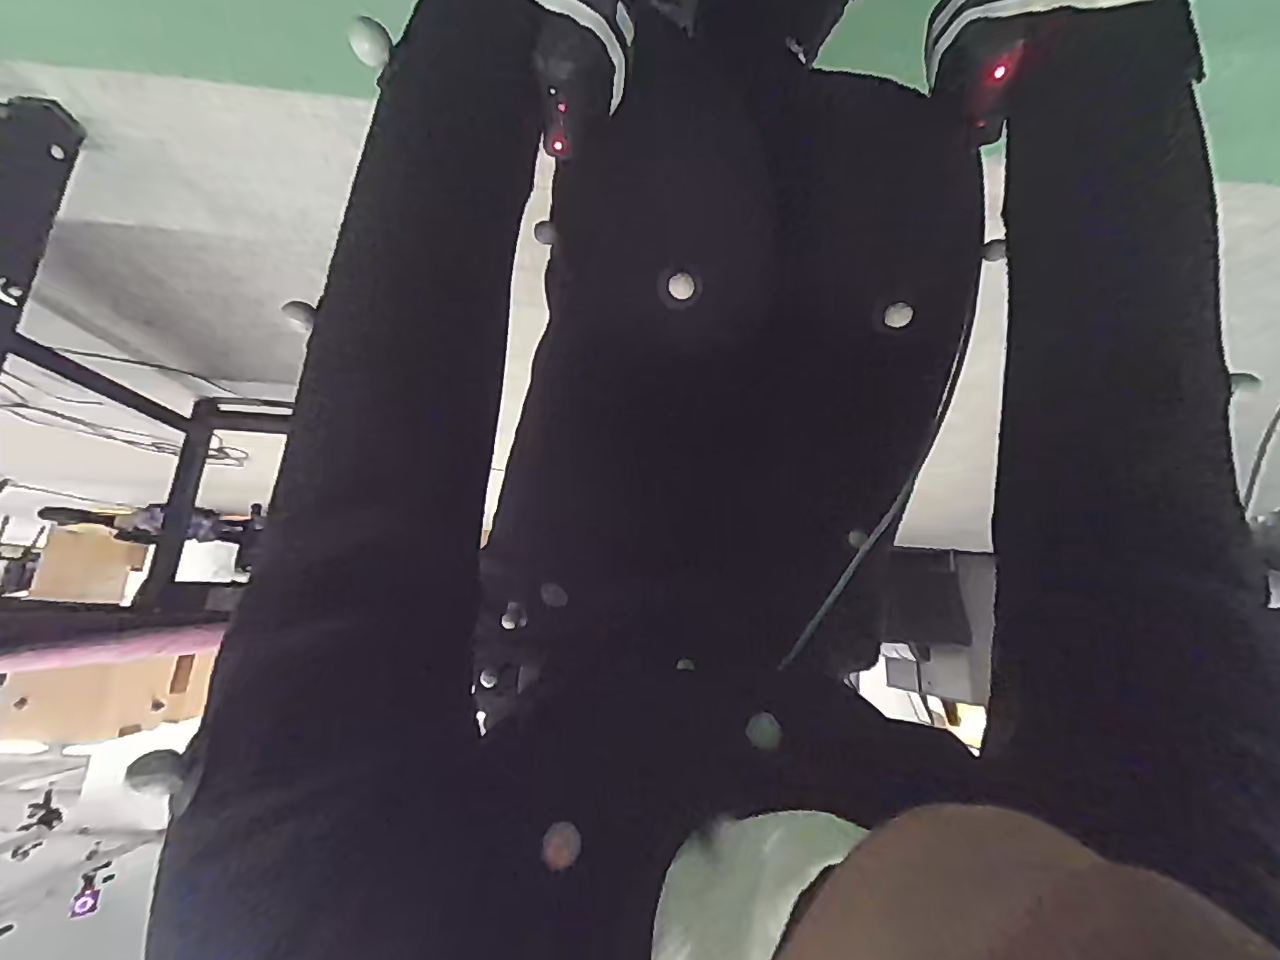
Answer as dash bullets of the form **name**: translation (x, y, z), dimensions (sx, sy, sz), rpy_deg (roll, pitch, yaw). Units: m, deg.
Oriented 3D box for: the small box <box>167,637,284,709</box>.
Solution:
- **small box**: translation (-1.105, 0.514, 1.458), dimensions (0.179, 0.176, 0.168), rpy_deg (4, 165, -5)
